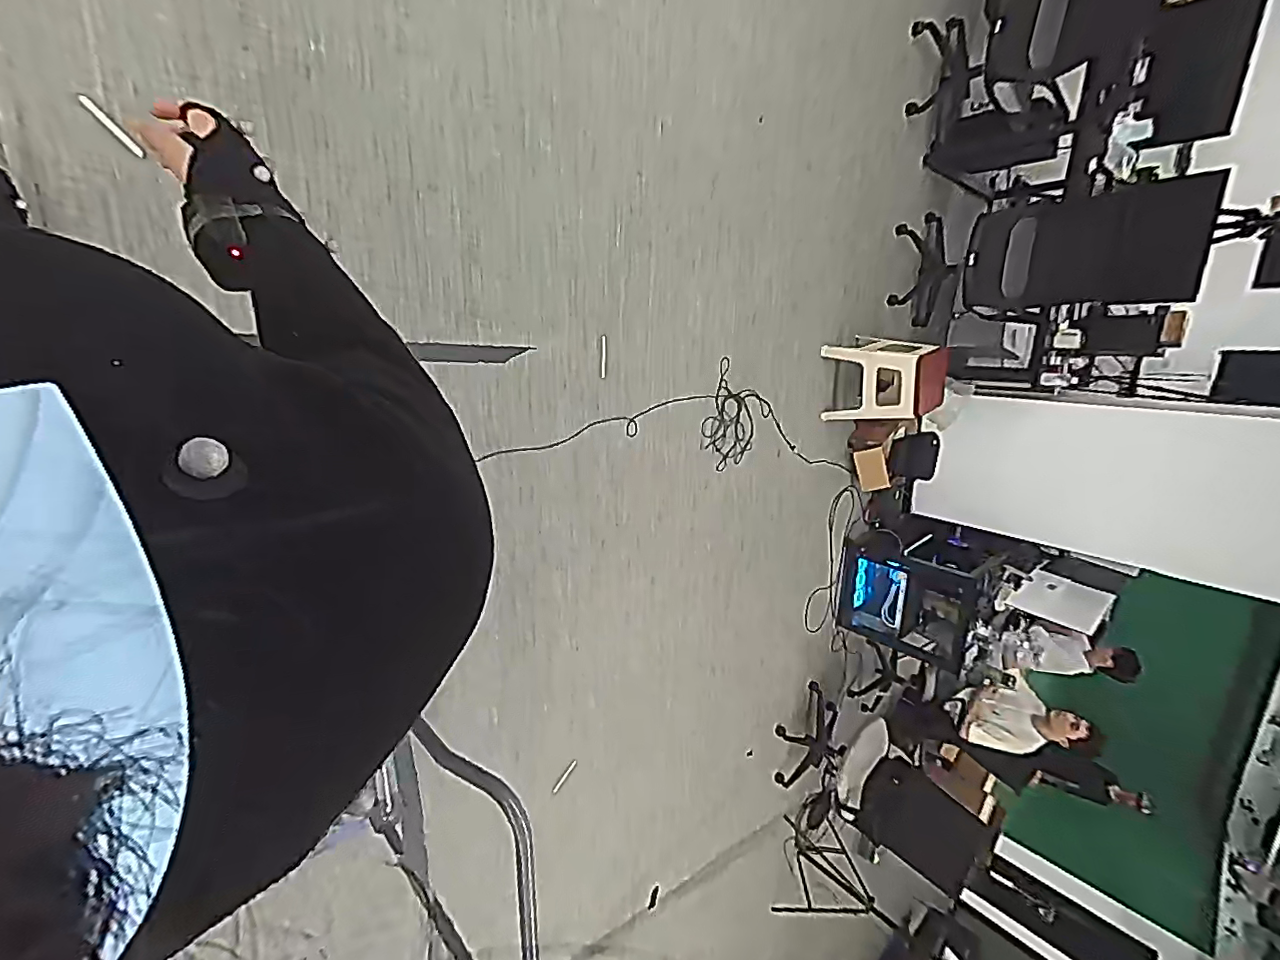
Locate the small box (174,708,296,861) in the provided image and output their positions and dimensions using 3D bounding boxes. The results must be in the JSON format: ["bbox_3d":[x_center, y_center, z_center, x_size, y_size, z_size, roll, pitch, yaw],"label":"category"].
[{"bbox_3d":[-0.828,0.609,1.107,0.168,0.176,0.179,-16,111,-39],"label":"small box"}]
